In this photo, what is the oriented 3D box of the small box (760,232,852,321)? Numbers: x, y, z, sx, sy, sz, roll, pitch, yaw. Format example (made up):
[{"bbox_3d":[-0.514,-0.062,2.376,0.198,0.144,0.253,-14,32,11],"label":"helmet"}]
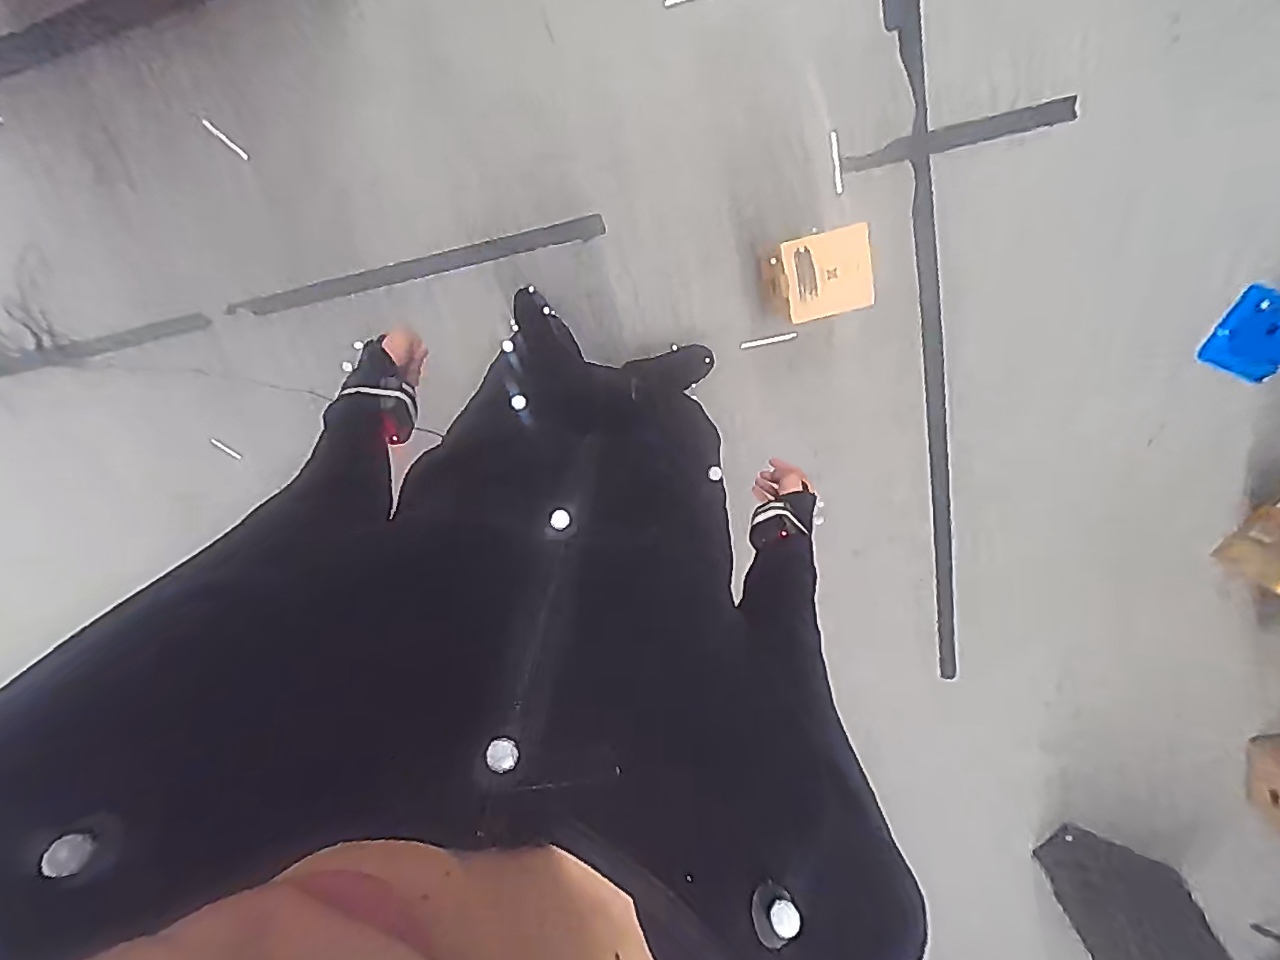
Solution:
[{"bbox_3d":[0.408,-0.506,1.346,0.179,0.176,0.168,-13,109,11],"label":"small box"}]
